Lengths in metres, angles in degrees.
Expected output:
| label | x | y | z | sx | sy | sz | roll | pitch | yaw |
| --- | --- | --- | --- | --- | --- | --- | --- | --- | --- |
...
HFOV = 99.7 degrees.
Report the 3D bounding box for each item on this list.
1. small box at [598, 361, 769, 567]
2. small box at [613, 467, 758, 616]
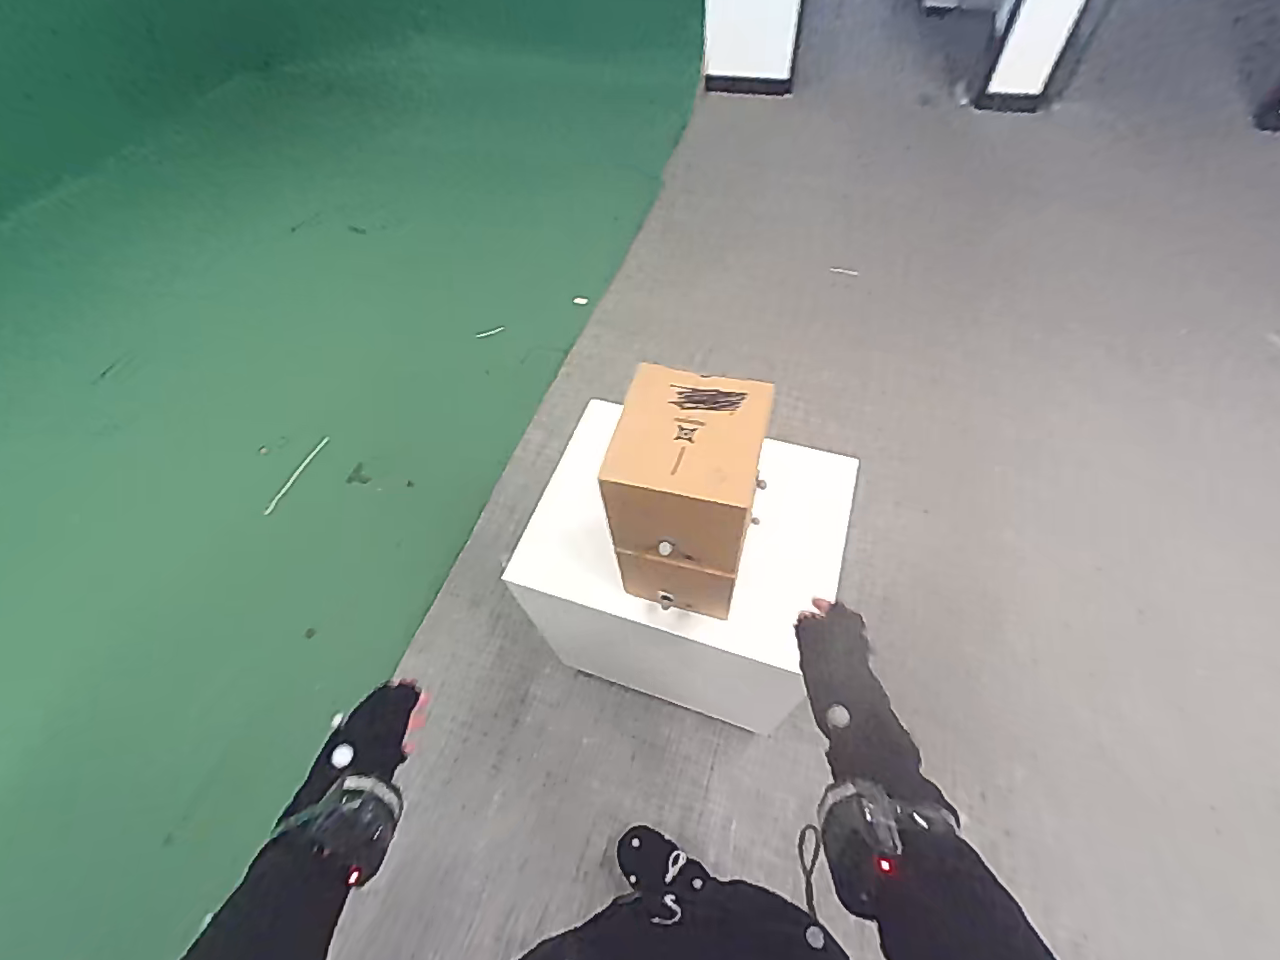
| label | x | y | z | sx | sy | sz | roll | pitch | yaw |
| --- | --- | --- | --- | --- | --- | --- | --- | --- | --- |
| small box | 0.058 | -0.017 | 0.663 | 0.168 | 0.176 | 0.179 | 8 | 57 | 11 |
| small box | 0.071 | 0.077 | 0.797 | 0.168 | 0.176 | 0.179 | 11 | 60 | 13 |
